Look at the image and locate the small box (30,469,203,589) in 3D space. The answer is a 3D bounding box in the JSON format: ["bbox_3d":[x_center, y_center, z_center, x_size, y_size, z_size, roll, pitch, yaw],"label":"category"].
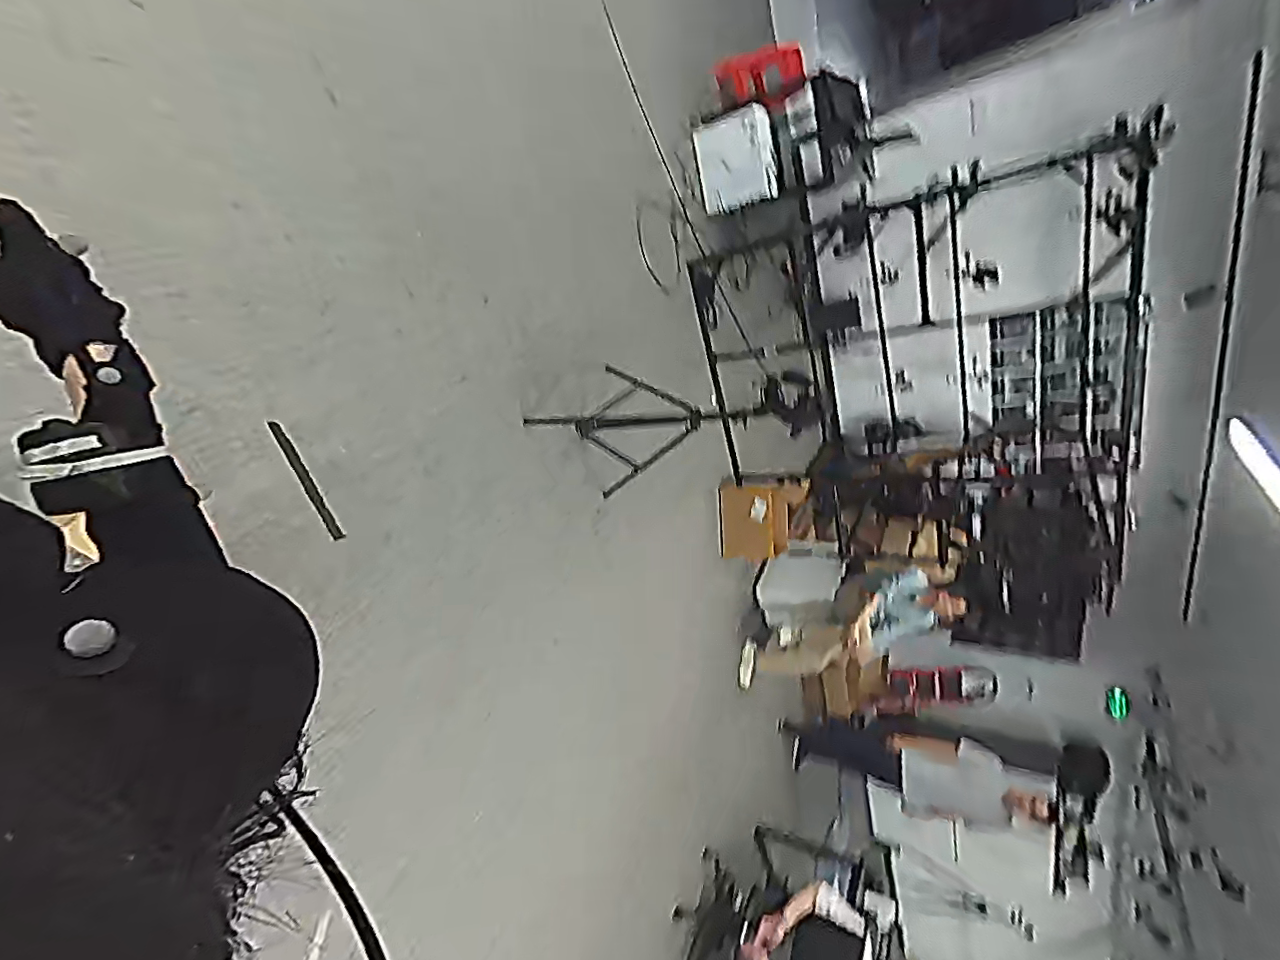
[{"bbox_3d":[-1.051,0.093,1.086,0.168,0.176,0.179,60,45,-35],"label":"small box"}]
